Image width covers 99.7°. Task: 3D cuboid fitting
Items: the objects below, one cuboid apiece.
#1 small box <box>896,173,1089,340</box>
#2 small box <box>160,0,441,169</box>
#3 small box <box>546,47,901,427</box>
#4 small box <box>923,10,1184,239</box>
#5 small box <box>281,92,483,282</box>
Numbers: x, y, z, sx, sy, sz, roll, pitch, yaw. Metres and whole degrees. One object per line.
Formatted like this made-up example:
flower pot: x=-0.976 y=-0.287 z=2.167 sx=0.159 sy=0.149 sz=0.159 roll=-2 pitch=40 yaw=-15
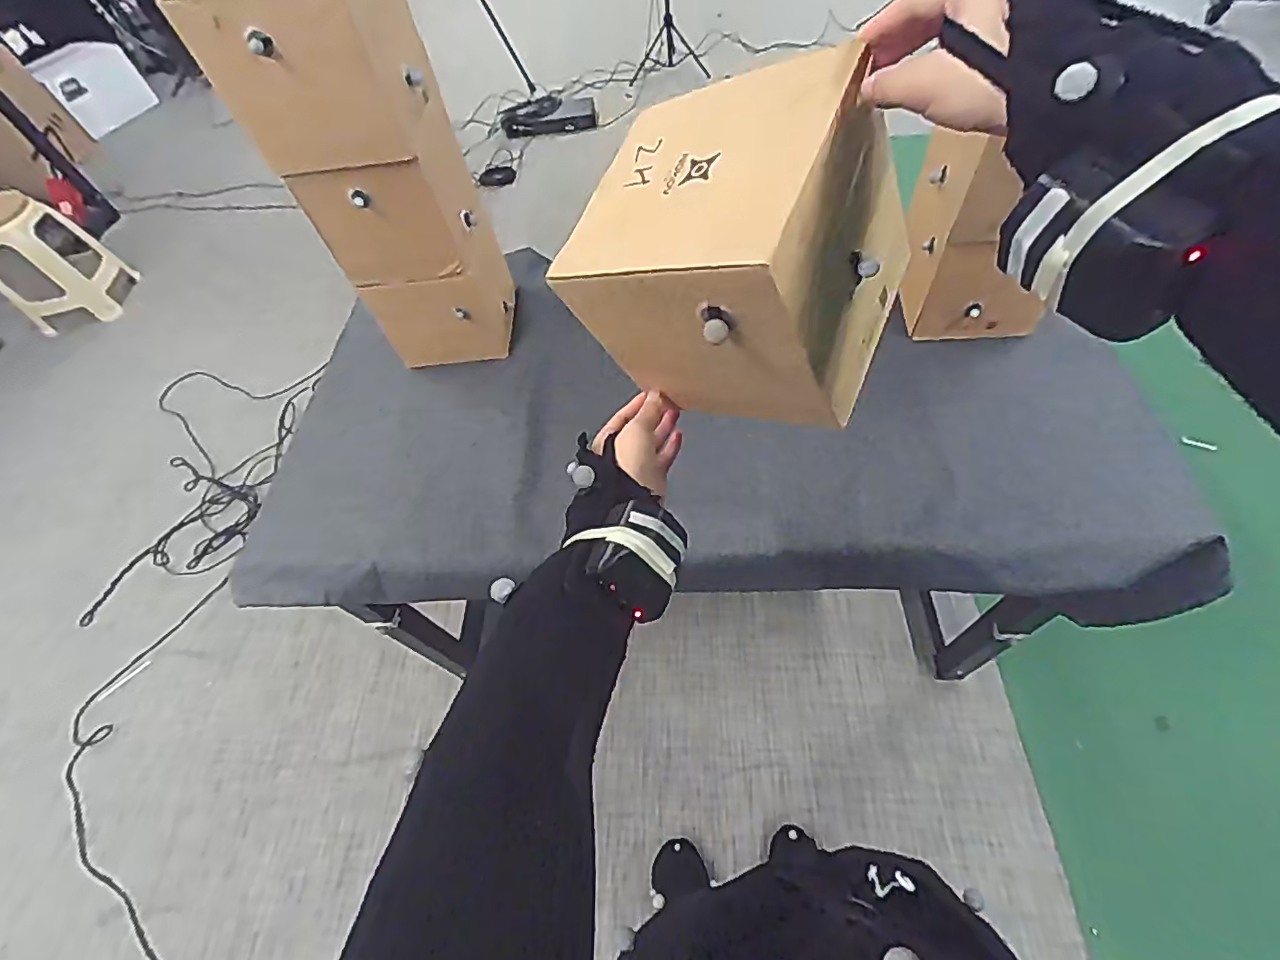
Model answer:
small box: x=0.482 y=-0.324 z=0.778 sx=0.168 sy=0.176 sz=0.179 roll=0 pitch=59 yaw=8
small box: x=-0.351 y=-0.472 z=0.600 sx=0.179 sy=0.176 sz=0.168 roll=-3 pitch=59 yaw=5
small box: x=0.073 y=-0.156 z=0.400 sx=0.179 sy=0.176 sz=0.168 roll=15 pitch=71 yaw=40
small box: x=0.458 y=-0.405 z=0.638 sx=0.168 sy=0.176 sz=0.179 roll=0 pitch=60 yaw=8
small box: x=-0.336 y=-0.393 z=0.744 sx=0.179 sy=0.176 sz=0.168 roll=-5 pitch=59 yaw=3
